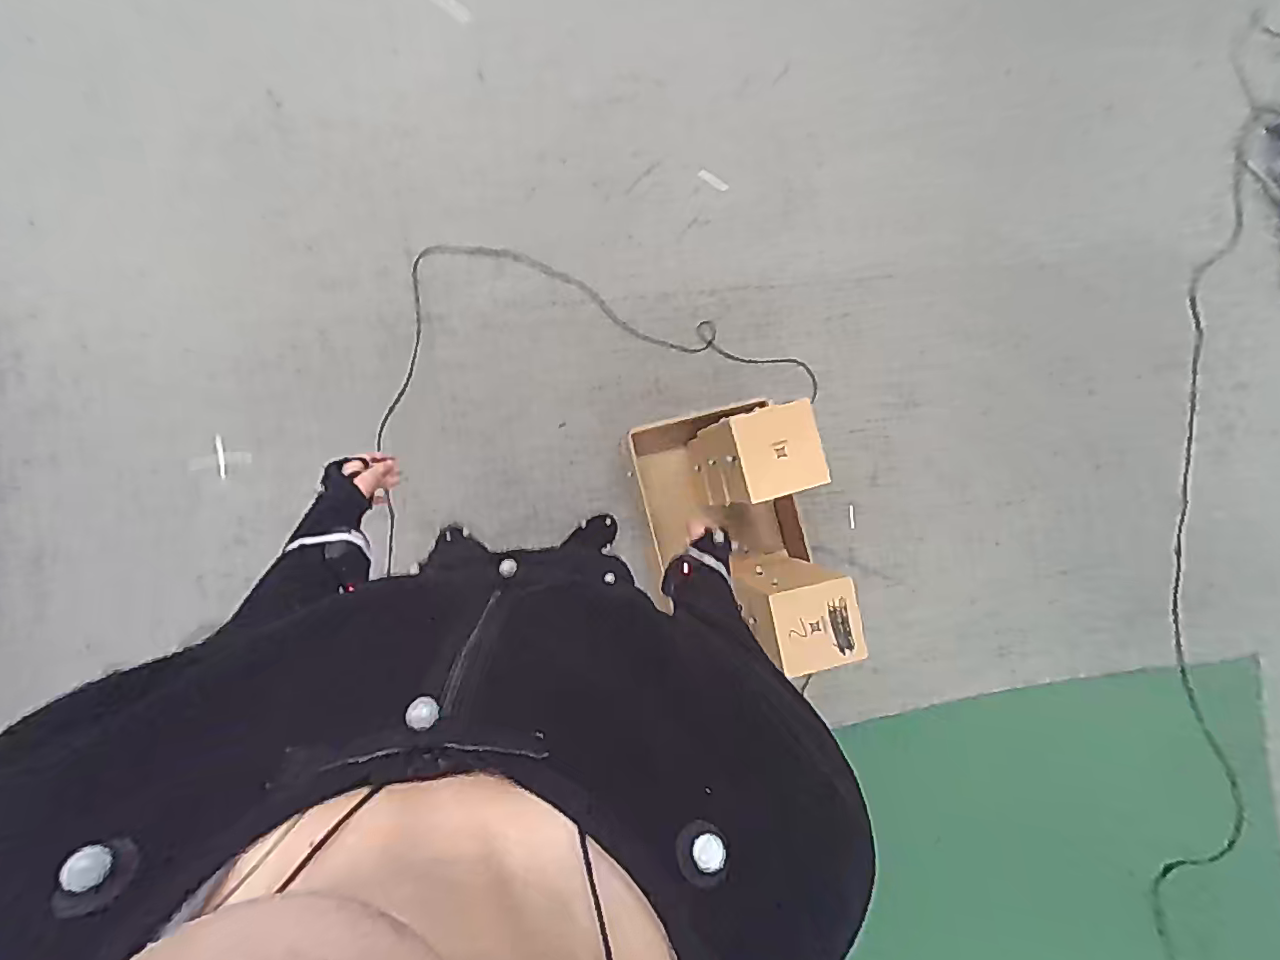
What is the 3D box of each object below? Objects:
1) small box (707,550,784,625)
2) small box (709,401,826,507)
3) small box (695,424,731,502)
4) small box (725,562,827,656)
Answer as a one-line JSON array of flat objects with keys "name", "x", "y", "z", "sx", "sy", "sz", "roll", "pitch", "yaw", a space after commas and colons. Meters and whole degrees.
[{"name": "small box", "x": 0.287, "y": 0.286, "z": 1.437, "sx": 0.168, "sy": 0.176, "sz": 0.179, "roll": -10, "pitch": 89, "yaw": -8}, {"name": "small box", "x": 0.256, "y": -0.050, "z": 1.116, "sx": 0.168, "sy": 0.176, "sz": 0.179, "roll": -15, "pitch": 90, "yaw": -6}, {"name": "small box", "x": 0.236, "y": -0.046, "z": 1.277, "sx": 0.168, "sy": 0.176, "sz": 0.179, "roll": -10, "pitch": 91, "yaw": -6}, {"name": "small box", "x": 0.310, "y": 0.295, "z": 1.274, "sx": 0.179, "sy": 0.176, "sz": 0.168, "roll": -10, "pitch": 90, "yaw": -8}]
